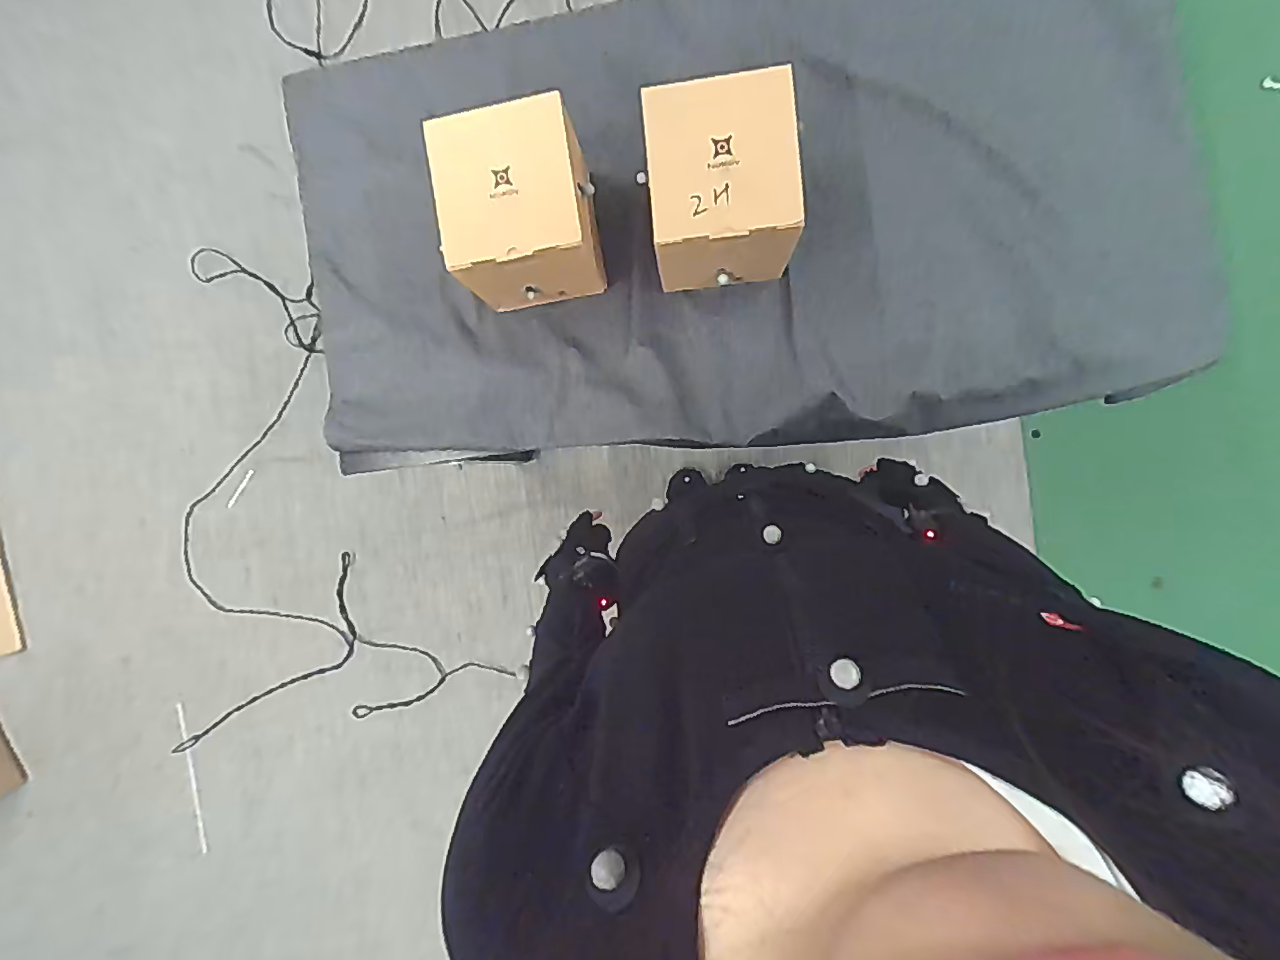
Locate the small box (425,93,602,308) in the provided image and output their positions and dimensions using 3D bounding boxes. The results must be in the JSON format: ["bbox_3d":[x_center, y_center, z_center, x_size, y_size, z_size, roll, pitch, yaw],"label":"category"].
[{"bbox_3d":[-0.150,-0.343,0.697,0.168,0.176,0.179,-9,91,6],"label":"small box"}]

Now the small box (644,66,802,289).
[{"bbox_3d":[0.096,-0.357,0.670,0.168,0.176,0.179,-5,91,6],"label":"small box"}]
